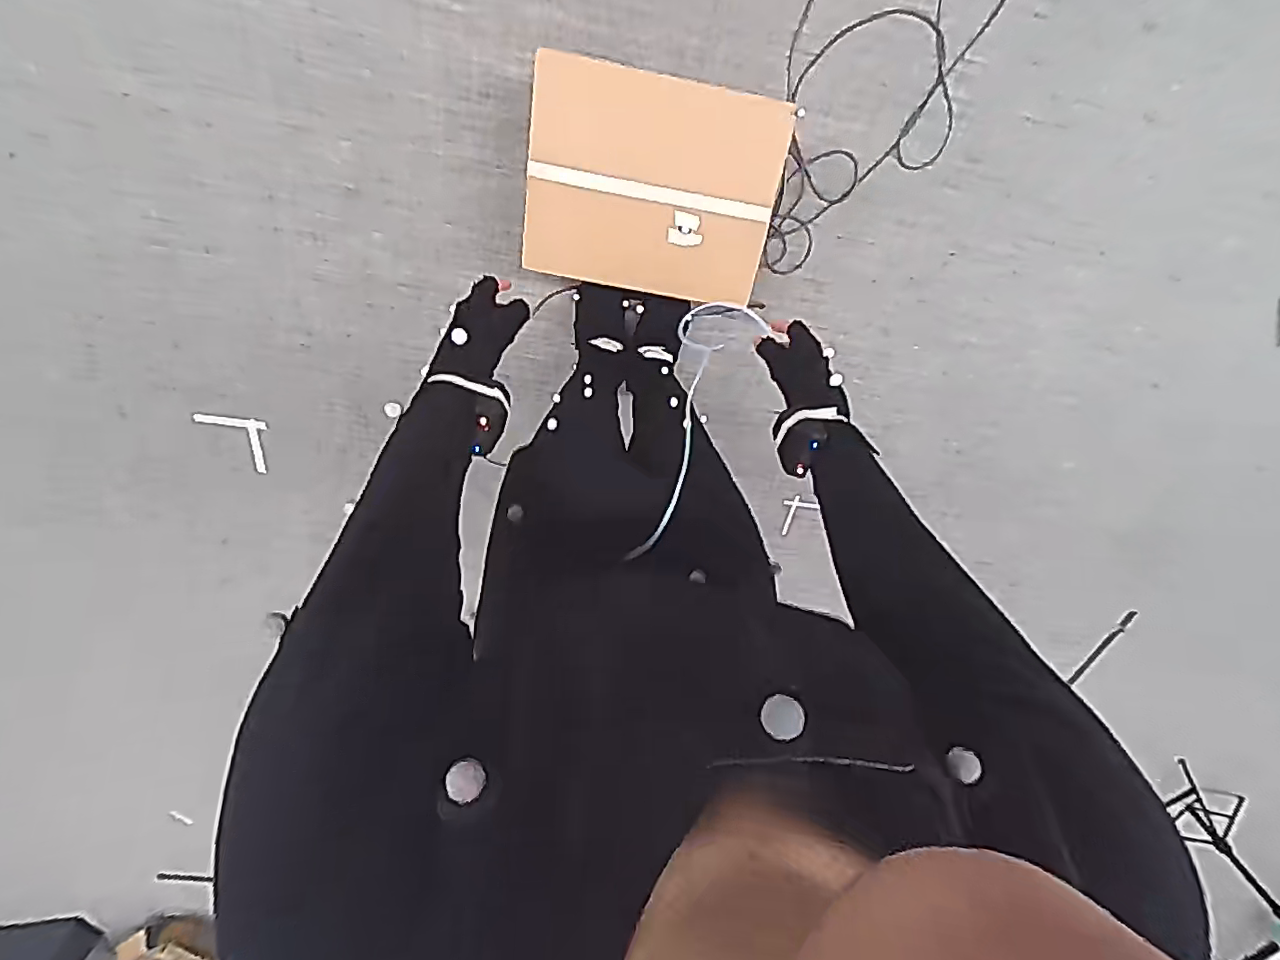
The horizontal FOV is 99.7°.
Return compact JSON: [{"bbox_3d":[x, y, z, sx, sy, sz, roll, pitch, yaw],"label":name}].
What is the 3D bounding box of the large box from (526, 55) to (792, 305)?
[{"bbox_3d":[0.015,-0.548,1.025,0.408,0.320,0.320,9,119,-6],"label":"large box"}]
